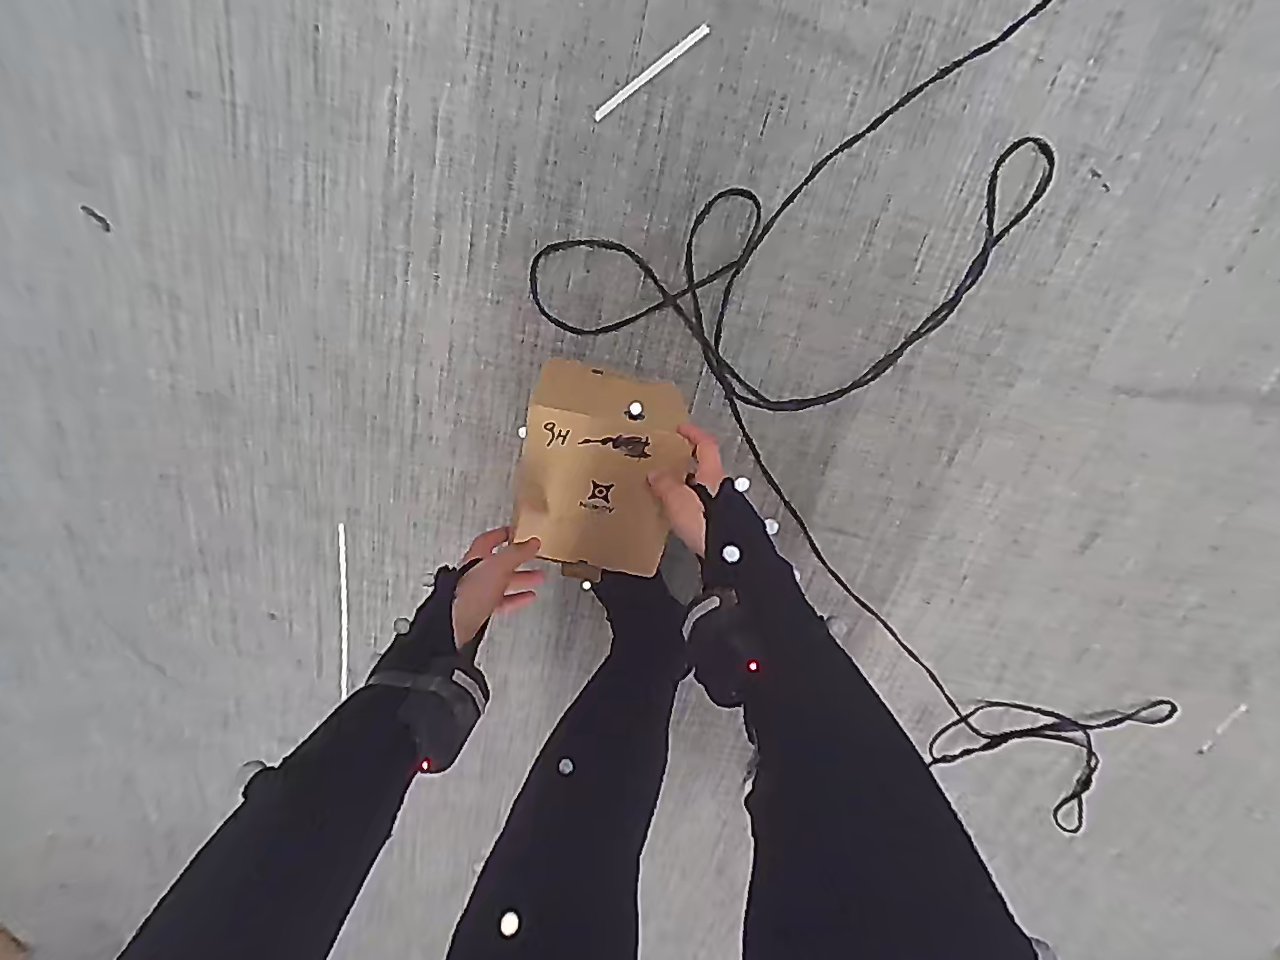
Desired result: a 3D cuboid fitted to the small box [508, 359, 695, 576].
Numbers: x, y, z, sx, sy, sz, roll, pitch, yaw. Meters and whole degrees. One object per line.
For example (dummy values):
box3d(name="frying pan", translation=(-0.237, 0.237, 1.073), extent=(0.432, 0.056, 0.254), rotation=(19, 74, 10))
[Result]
box3d(name="small box", translation=(-0.046, -0.019, 0.625), extent=(0.168, 0.176, 0.179), rotation=(11, 117, -9))
